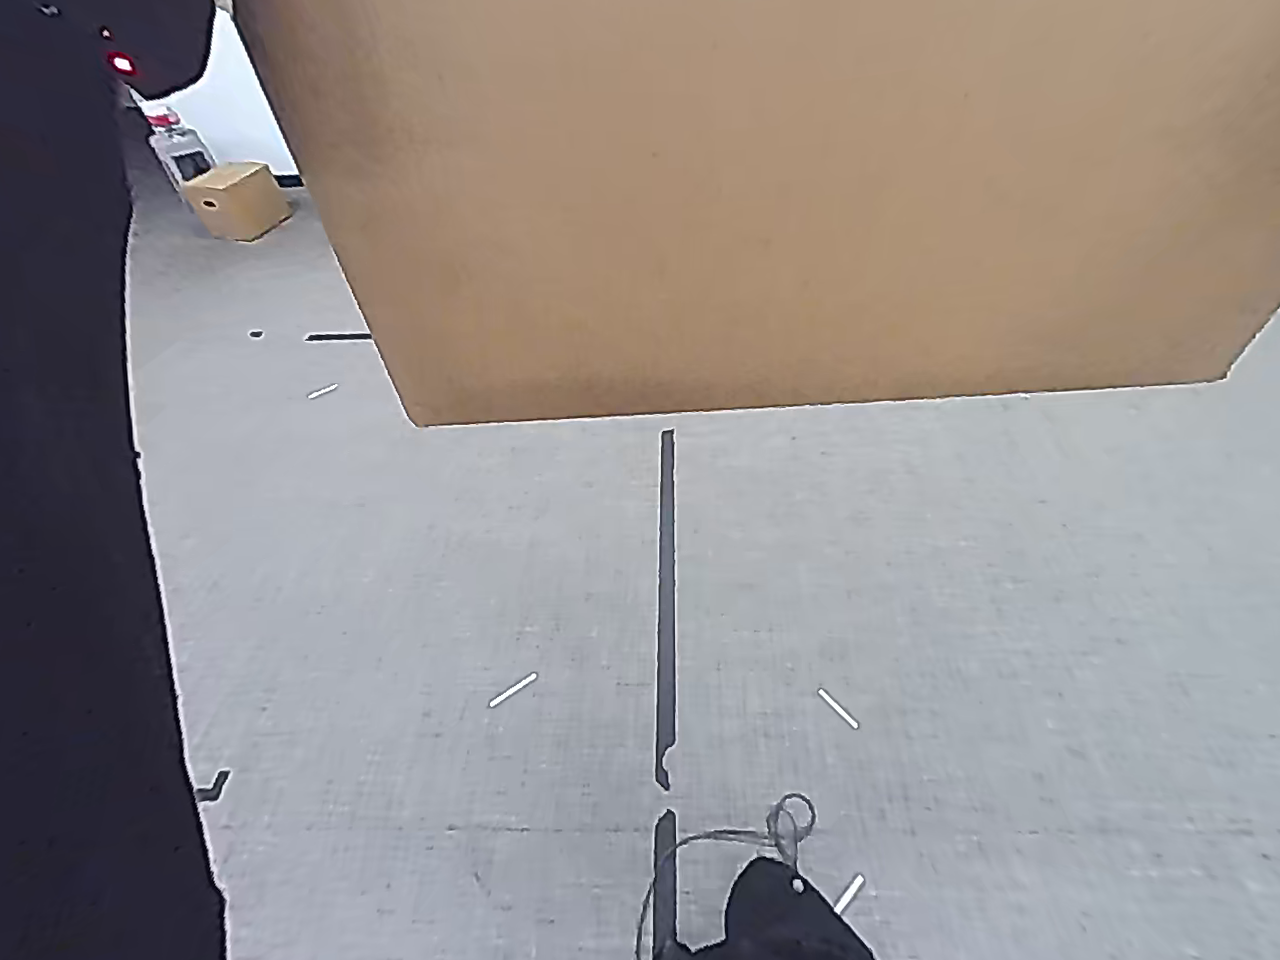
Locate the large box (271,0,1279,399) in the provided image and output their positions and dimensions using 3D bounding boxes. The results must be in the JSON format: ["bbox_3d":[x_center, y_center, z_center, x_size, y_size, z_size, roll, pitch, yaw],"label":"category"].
[{"bbox_3d":[0.071,-0.261,0.281,0.408,0.320,0.320,-3,45,0],"label":"large box"}]
